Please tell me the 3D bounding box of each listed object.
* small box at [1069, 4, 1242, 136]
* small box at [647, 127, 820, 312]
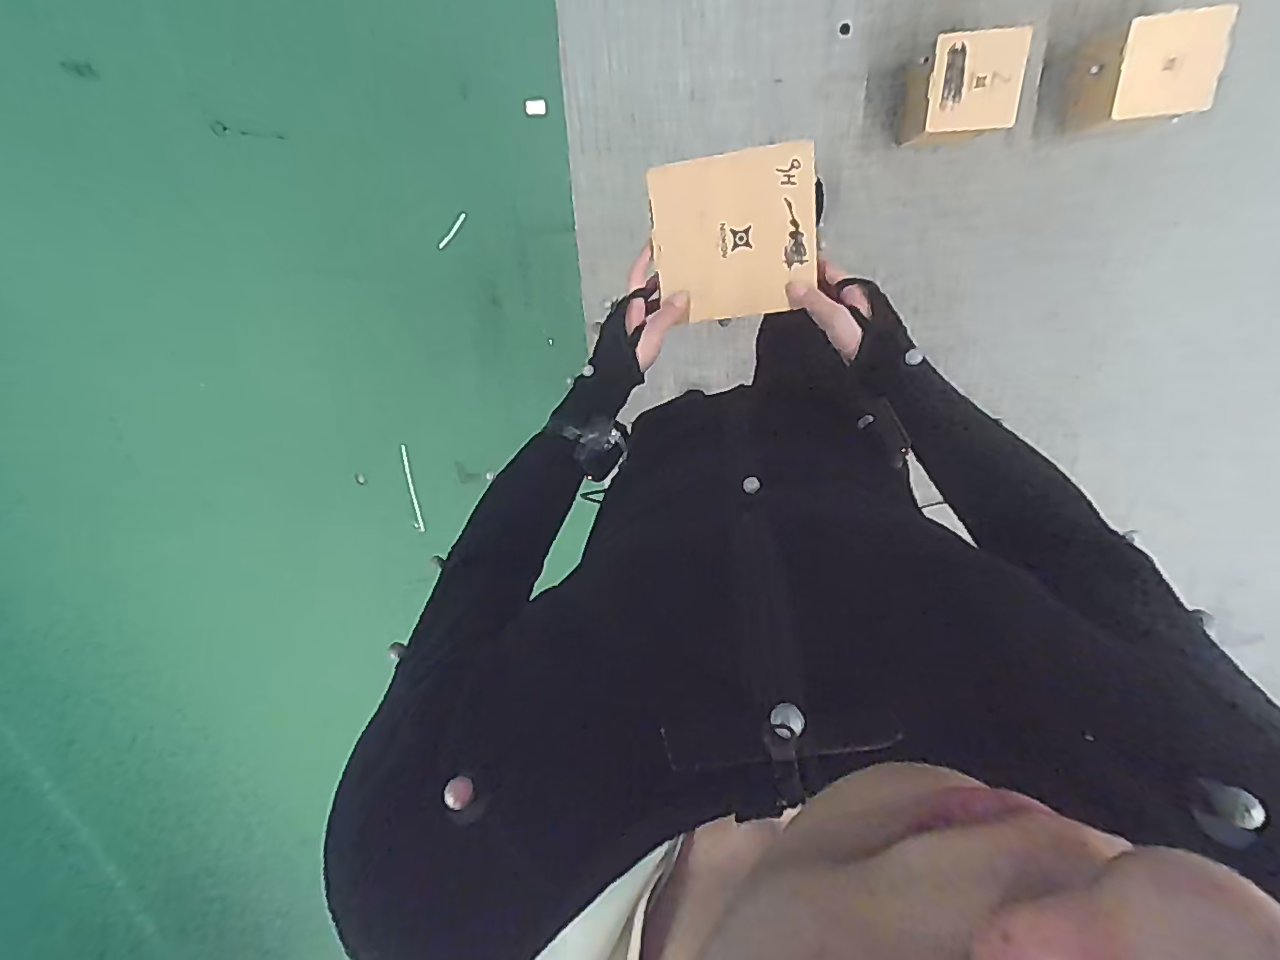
[{"bbox_3d":[1.016,-0.810,1.088,0.179,0.176,0.168,-2,112,8],"label":"small box"},{"bbox_3d":[0.113,-0.294,0.647,0.179,0.176,0.168,-3,109,10],"label":"small box"}]
